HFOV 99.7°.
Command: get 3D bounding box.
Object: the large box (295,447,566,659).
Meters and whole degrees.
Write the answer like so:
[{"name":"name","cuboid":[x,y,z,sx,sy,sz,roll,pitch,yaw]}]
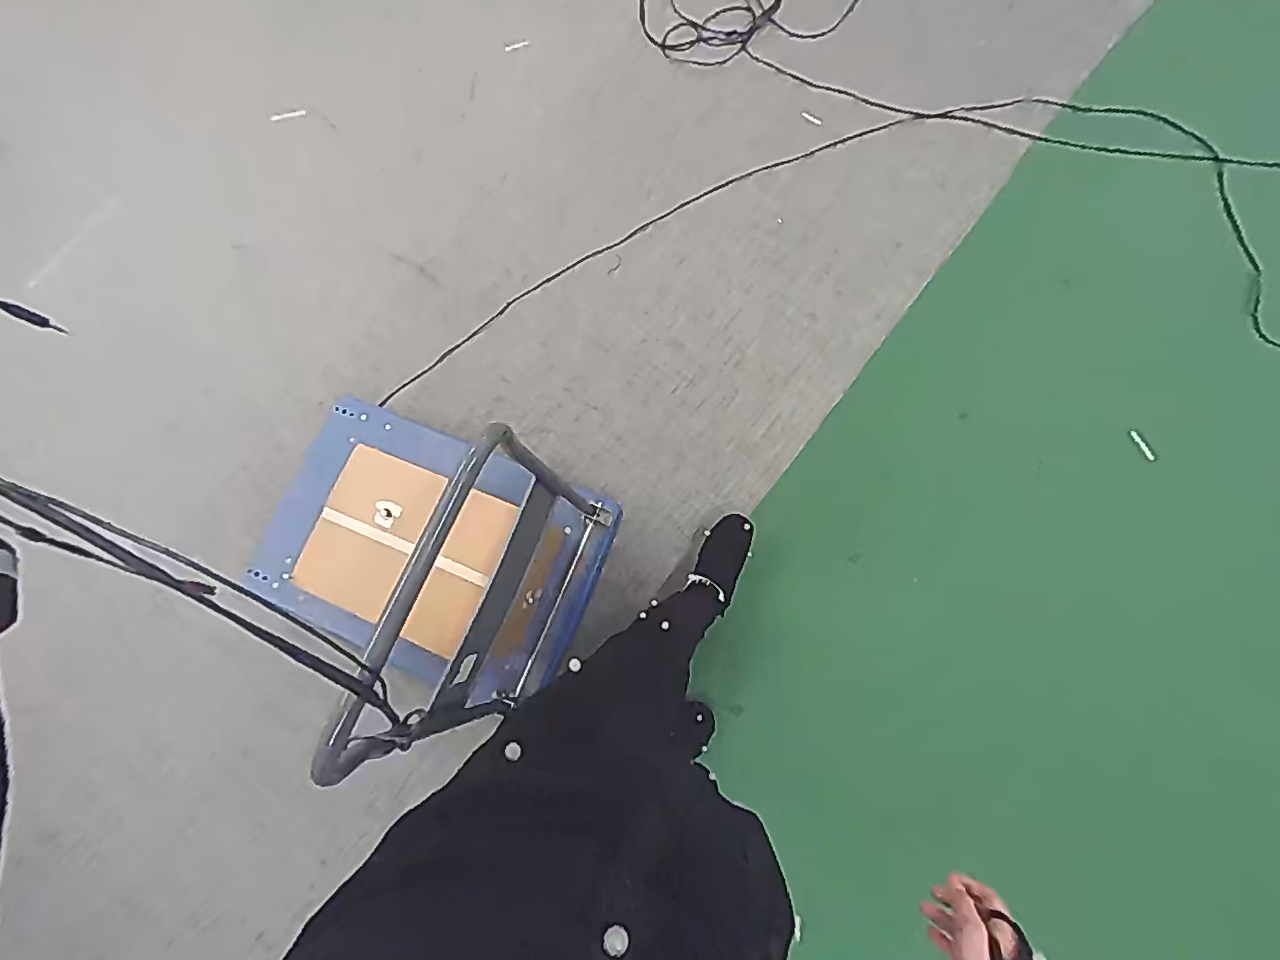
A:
[{"name":"large box","cuboid":[-0.432,0.164,1.205,0.408,0.320,0.320,20,80,12]}]
